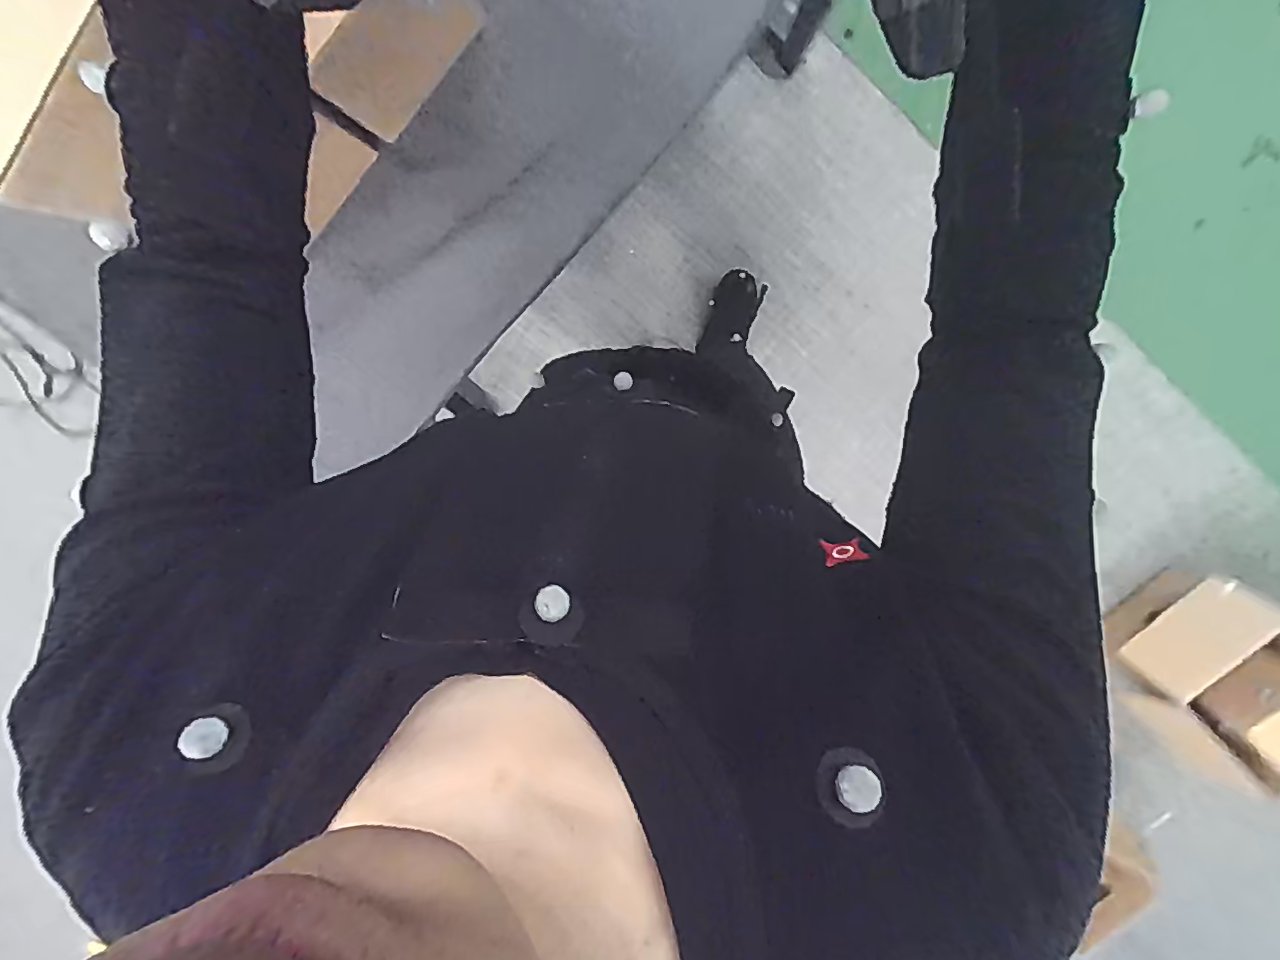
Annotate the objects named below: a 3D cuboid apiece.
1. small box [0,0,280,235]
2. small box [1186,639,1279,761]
[{"bbox_3d":[-0.423,-0.323,0.410,0.168,0.176,0.179,42,101,-9],"label":"small box"},{"bbox_3d":[1.508,0.530,1.321,0.168,0.176,0.179,42,102,-10],"label":"small box"}]
